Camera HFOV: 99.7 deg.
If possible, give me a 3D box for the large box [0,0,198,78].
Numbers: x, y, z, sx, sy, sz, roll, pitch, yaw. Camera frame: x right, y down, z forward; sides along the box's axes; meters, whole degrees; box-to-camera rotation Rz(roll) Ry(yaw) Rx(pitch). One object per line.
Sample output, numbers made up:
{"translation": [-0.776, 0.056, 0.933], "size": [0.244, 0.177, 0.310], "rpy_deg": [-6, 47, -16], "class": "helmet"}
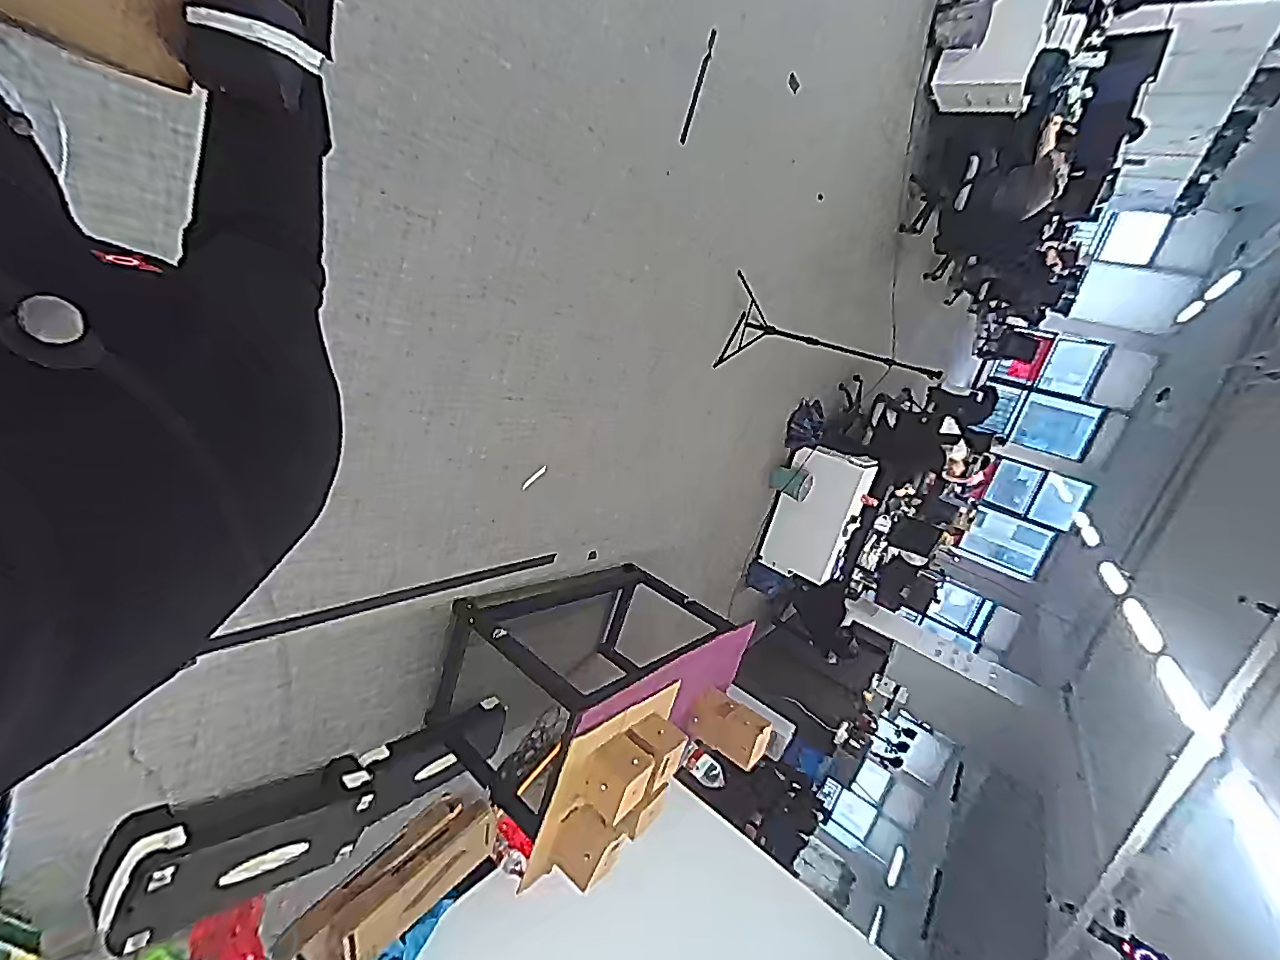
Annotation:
{"translation": [-0.484, -0.471, 0.244], "size": [0.408, 0.320, 0.320], "rpy_deg": [-2, 120, -55], "class": "large box"}
